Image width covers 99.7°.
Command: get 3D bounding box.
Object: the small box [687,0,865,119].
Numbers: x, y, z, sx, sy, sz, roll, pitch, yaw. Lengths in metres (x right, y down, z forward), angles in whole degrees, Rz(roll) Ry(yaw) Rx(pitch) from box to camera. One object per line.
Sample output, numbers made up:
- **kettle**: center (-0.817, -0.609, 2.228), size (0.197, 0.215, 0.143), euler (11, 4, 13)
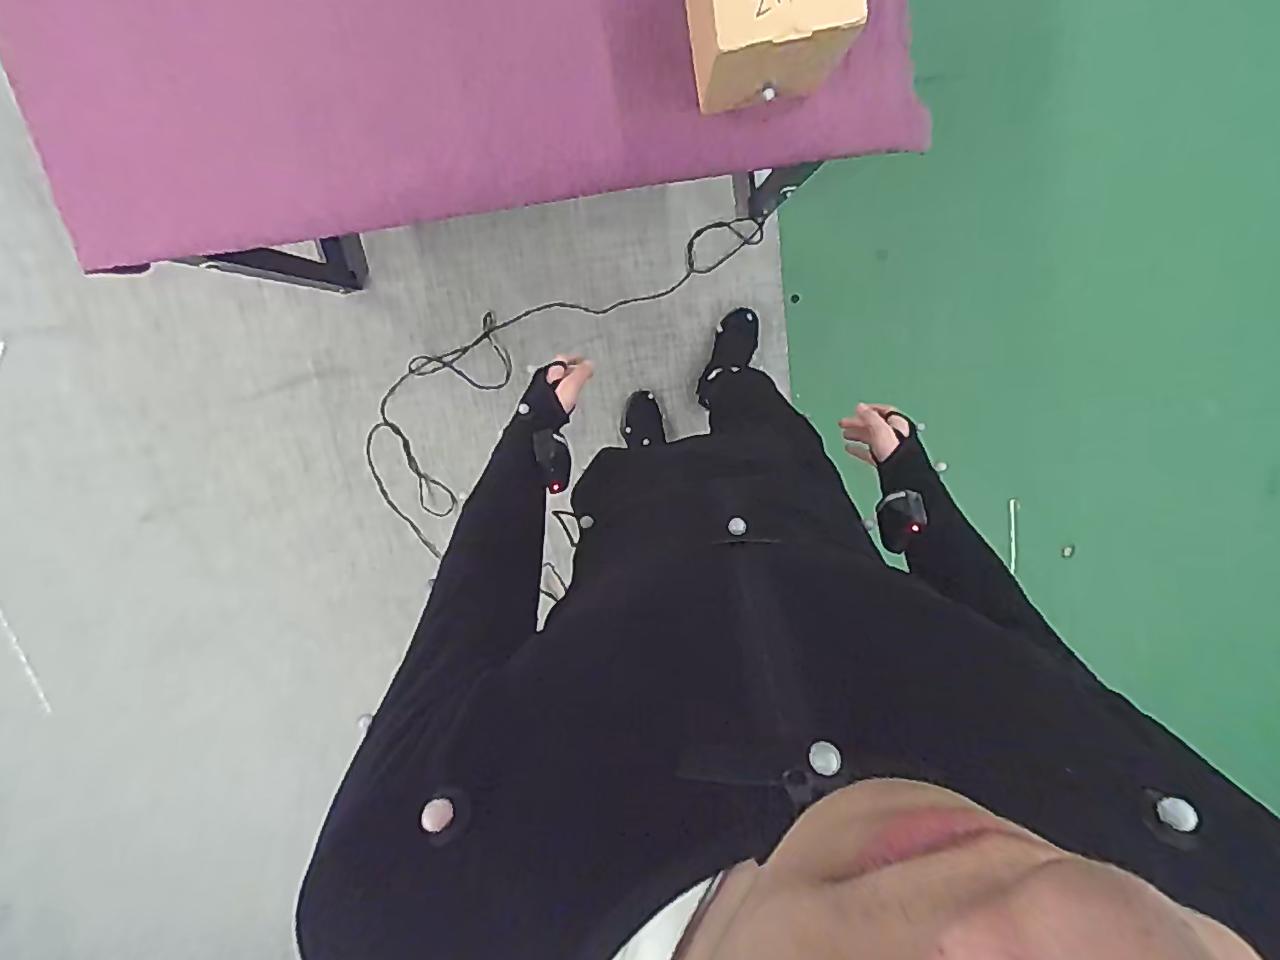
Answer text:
- **small box**: center (0.151, -0.575, 0.650), size (0.168, 0.176, 0.179), euler (-9, 105, 2)
